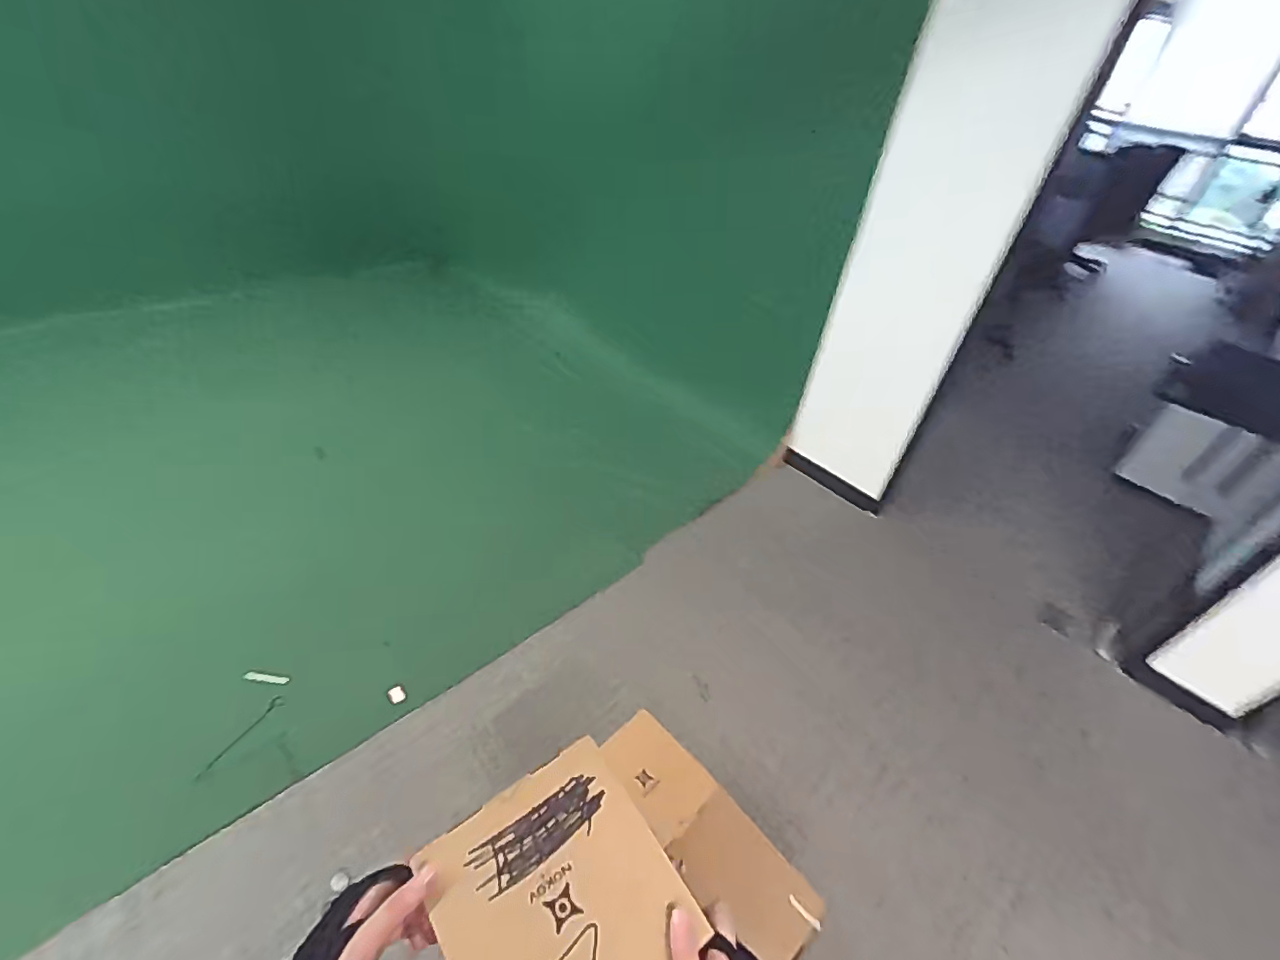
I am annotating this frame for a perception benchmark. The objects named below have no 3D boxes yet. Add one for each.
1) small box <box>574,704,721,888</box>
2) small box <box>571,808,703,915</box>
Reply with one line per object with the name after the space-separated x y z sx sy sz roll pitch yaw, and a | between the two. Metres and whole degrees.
0.003 0.523 0.898 0.168 0.176 0.179 -27 51 -36 | small box
-0.012 0.653 0.996 0.168 0.176 0.179 -28 51 -36 | small box
